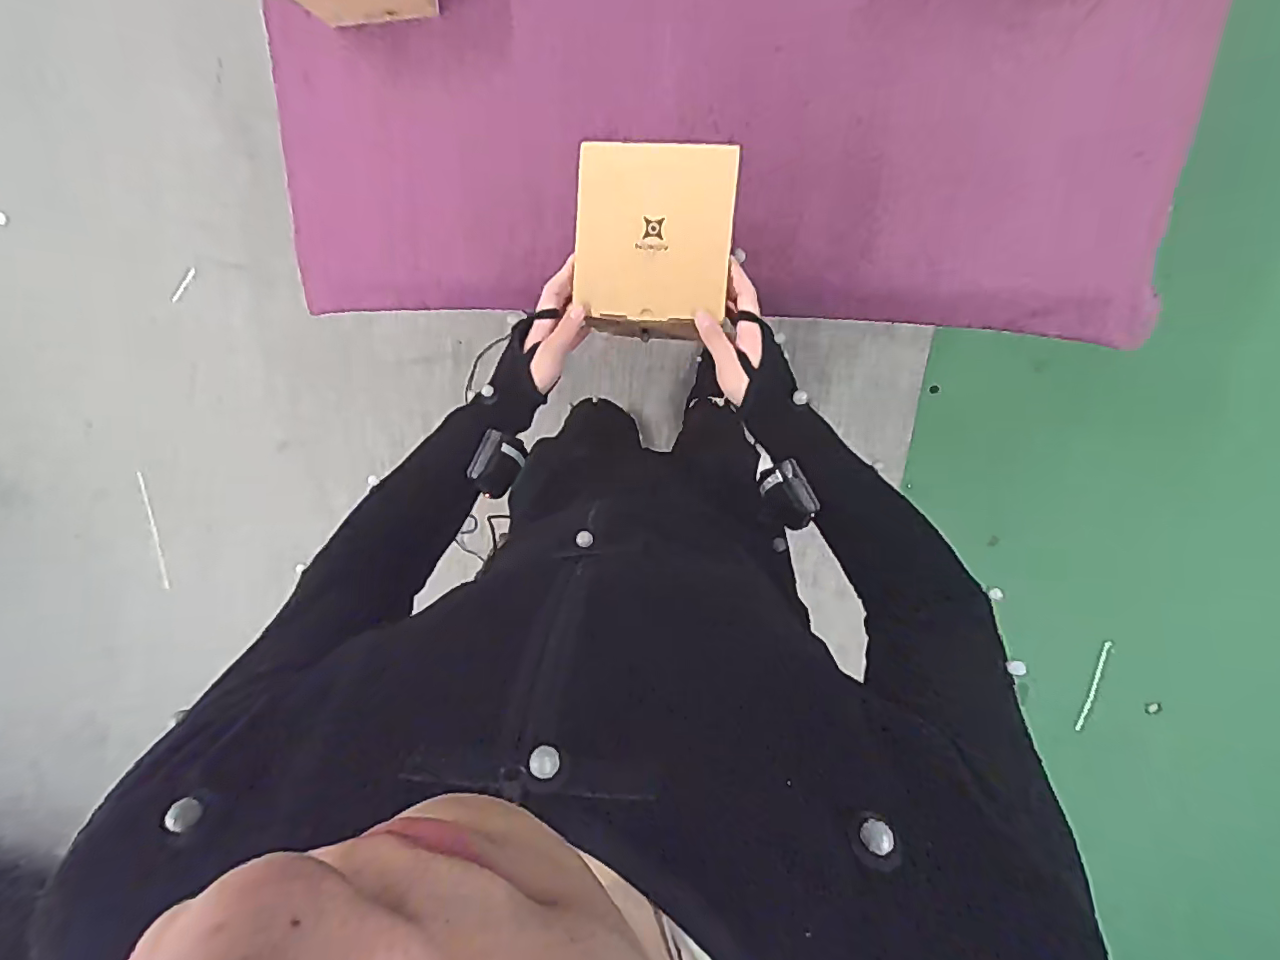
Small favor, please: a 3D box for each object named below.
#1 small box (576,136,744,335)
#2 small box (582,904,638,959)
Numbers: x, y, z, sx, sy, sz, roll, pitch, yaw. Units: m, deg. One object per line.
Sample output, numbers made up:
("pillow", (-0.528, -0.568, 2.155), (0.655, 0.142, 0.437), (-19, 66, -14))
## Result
("small box", (0.024, -0.272, 0.638), (0.168, 0.176, 0.179), (4, 101, 5))
("small box", (-0.100, 1.594, 1.829), (0.168, 0.176, 0.179), (4, 108, 6))
